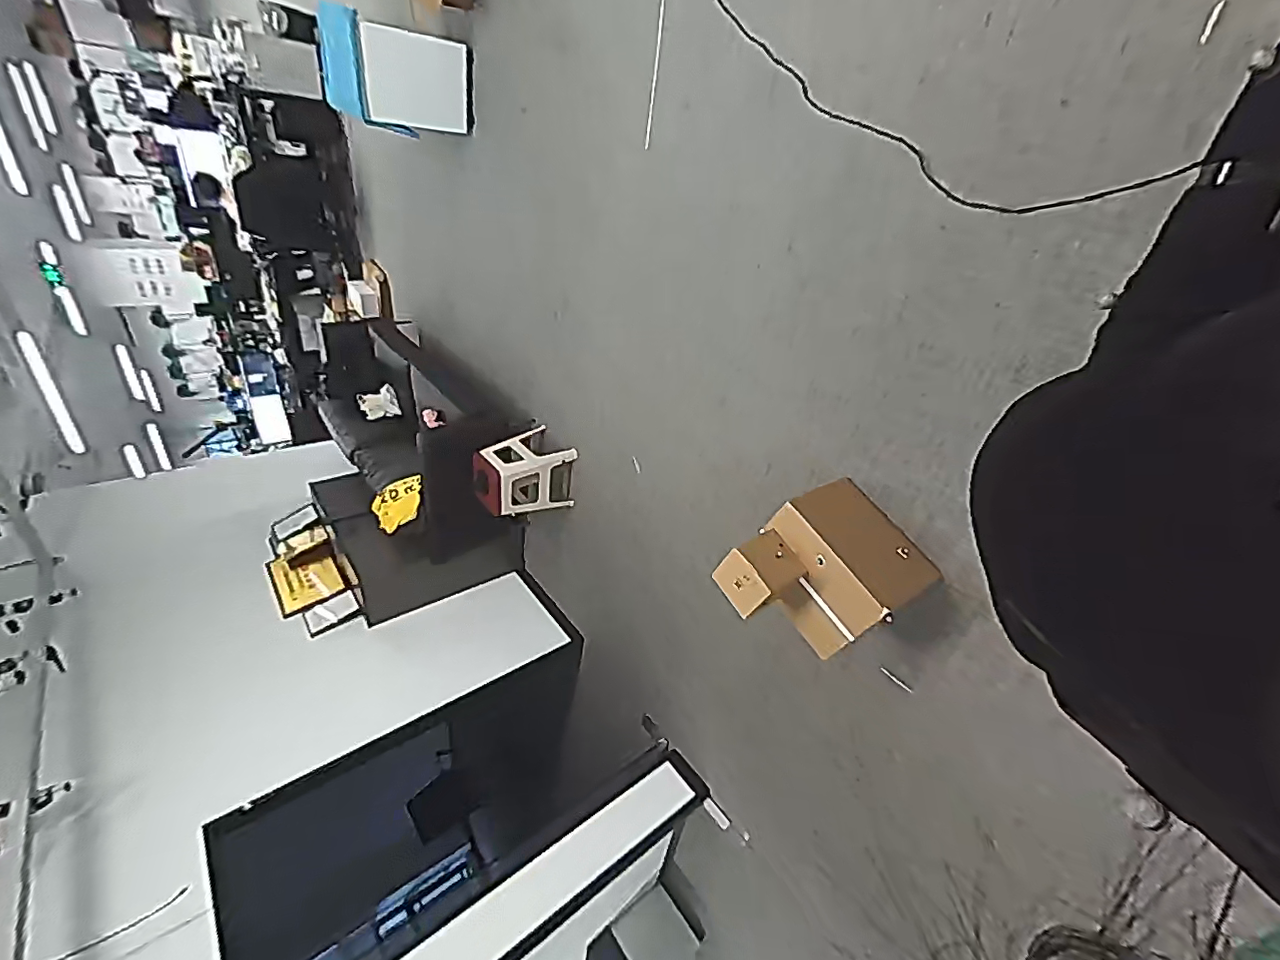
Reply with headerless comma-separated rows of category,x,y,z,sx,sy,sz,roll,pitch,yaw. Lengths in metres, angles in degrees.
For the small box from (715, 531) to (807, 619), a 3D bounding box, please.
small box,0.361,0.281,1.612,0.168,0.176,0.179,54,142,24
